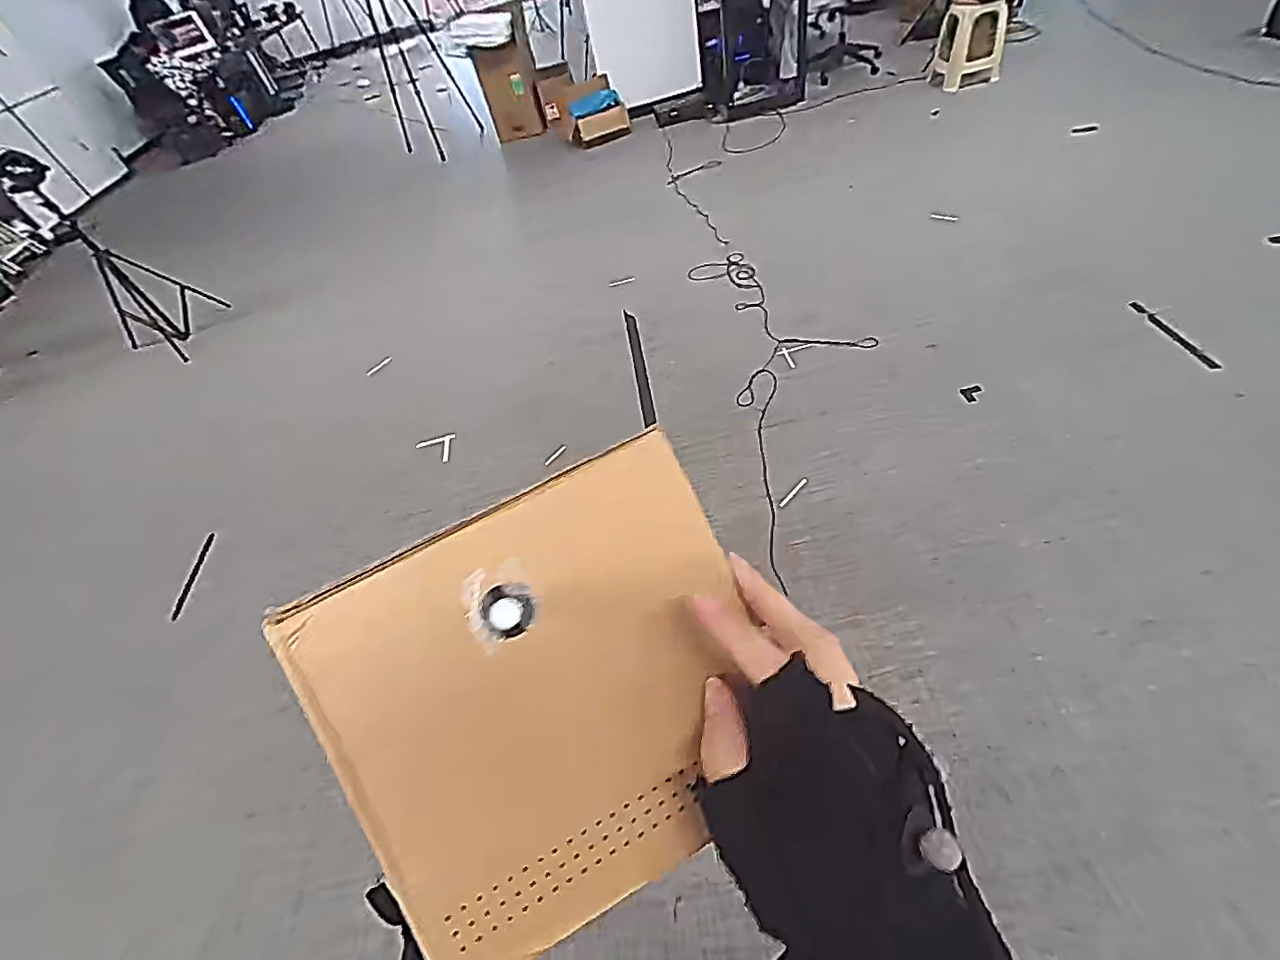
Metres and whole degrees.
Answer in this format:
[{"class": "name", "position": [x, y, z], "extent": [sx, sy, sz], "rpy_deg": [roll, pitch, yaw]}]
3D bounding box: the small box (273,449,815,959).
[{"class": "small box", "position": [-0.040, 0.104, 0.298], "extent": [0.179, 0.168, 0.176], "rpy_deg": [-27, 89, -8]}]
